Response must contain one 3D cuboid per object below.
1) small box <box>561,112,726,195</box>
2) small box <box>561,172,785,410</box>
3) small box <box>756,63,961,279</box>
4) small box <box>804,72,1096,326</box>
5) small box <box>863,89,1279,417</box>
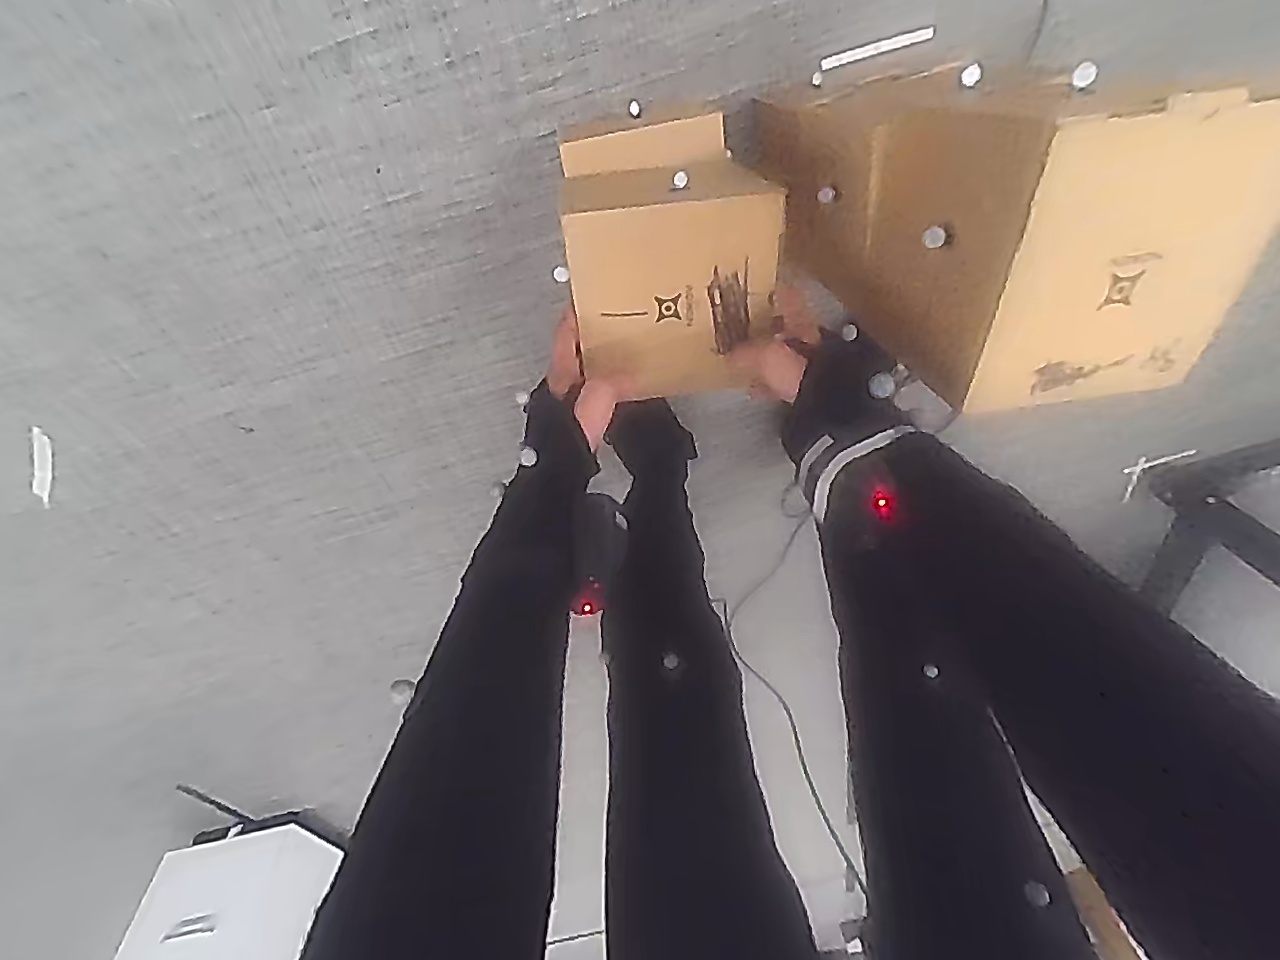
[{"bbox_3d":[0.003,-0.322,0.643,0.168,0.176,0.179,-11,129,0],"label":"small box"},{"bbox_3d":[0.022,-0.188,0.522,0.179,0.176,0.168,-7,127,-3],"label":"small box"},{"bbox_3d":[0.246,-0.370,0.647,0.168,0.176,0.179,-15,129,3],"label":"small box"},{"bbox_3d":[0.266,-0.272,0.520,0.179,0.176,0.168,-14,128,2],"label":"small box"},{"bbox_3d":[0.284,-0.170,0.393,0.168,0.176,0.179,-8,127,-3],"label":"small box"}]
